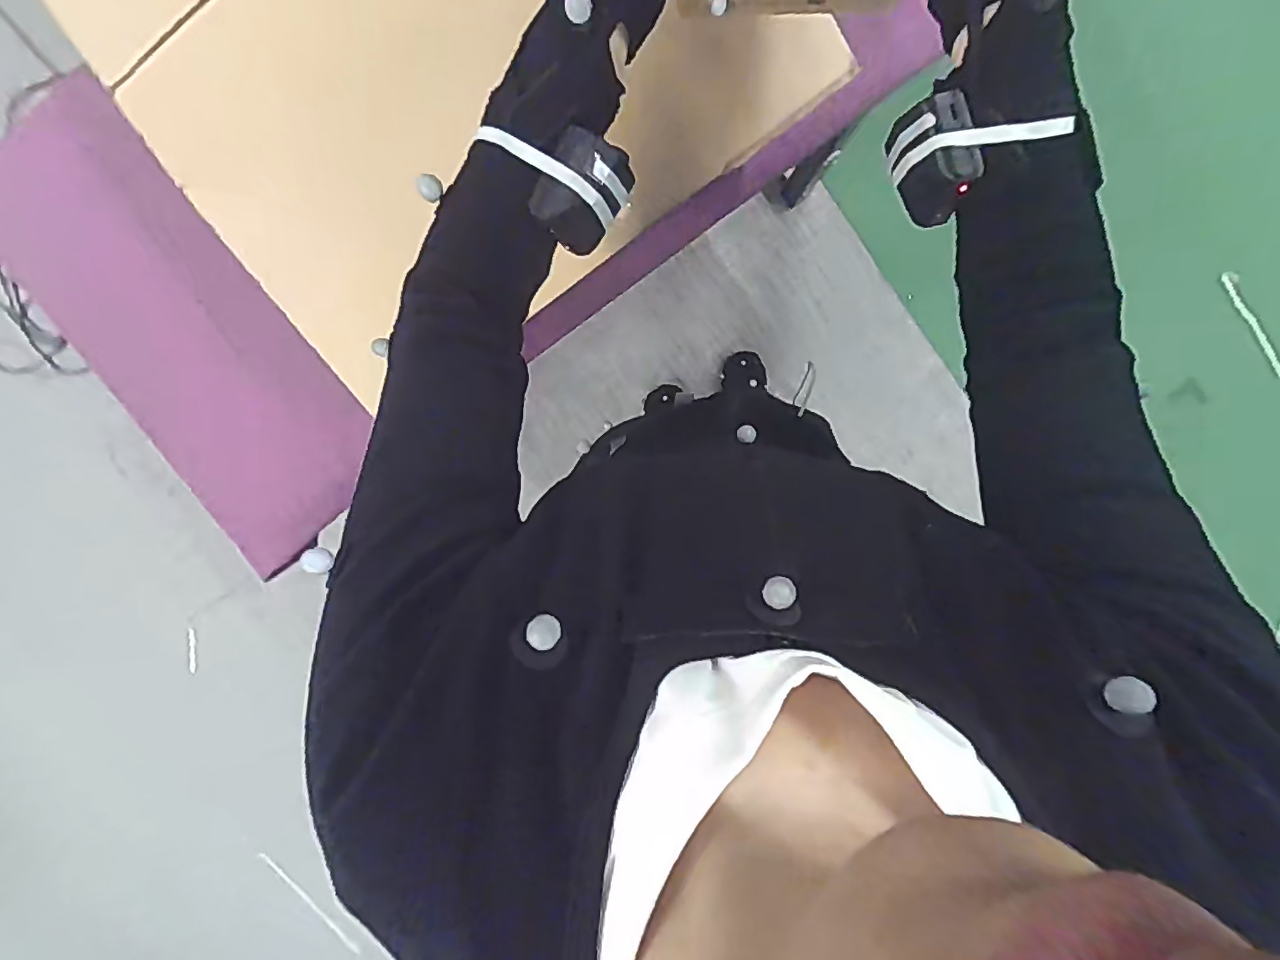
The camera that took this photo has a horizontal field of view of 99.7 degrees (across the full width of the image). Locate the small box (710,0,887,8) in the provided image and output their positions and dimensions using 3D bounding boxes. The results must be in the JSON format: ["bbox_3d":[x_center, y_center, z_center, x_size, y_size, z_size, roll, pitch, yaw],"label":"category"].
[{"bbox_3d":[0.111,-0.424,0.321,0.168,0.176,0.179,0,103,5],"label":"small box"}]
